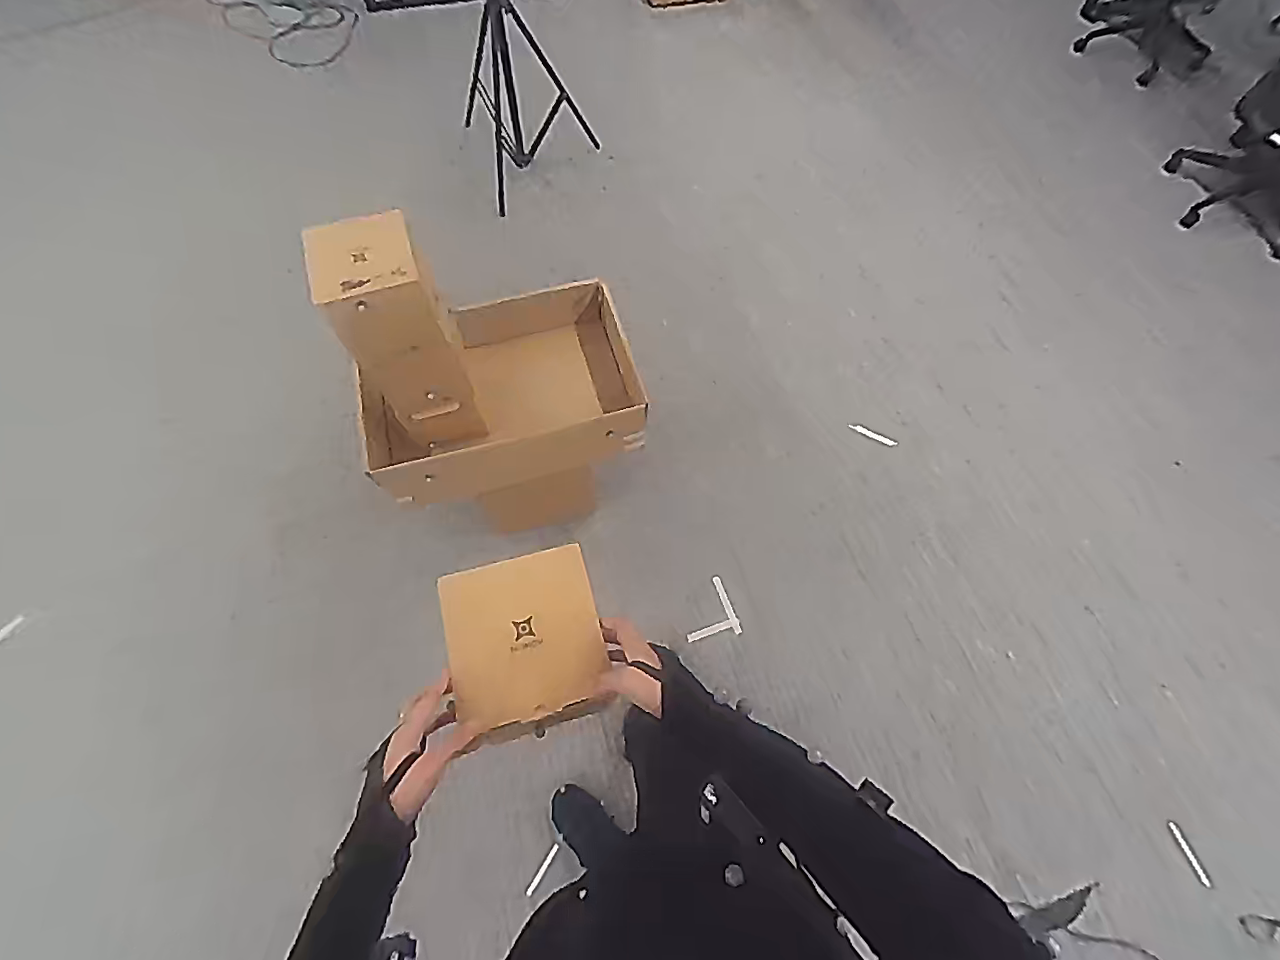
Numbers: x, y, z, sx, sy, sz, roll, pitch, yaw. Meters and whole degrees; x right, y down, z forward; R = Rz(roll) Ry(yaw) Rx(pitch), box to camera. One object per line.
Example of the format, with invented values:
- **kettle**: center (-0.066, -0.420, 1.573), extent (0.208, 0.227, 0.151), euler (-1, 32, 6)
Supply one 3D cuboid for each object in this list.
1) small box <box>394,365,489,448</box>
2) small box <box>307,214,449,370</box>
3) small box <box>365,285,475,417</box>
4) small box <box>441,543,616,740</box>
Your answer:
- **small box**: center (-0.462, -0.191, 1.253), extent (0.168, 0.176, 0.179), euler (-16, 66, -8)
- **small box**: center (-0.455, -0.326, 0.953), extent (0.168, 0.176, 0.179), euler (-18, 66, -8)
- **small box**: center (-0.451, -0.258, 1.103), extent (0.168, 0.176, 0.179), euler (-18, 67, -9)
- **small box**: center (-0.132, 0.201, 0.659), extent (0.168, 0.176, 0.179), euler (-13, 65, -11)
